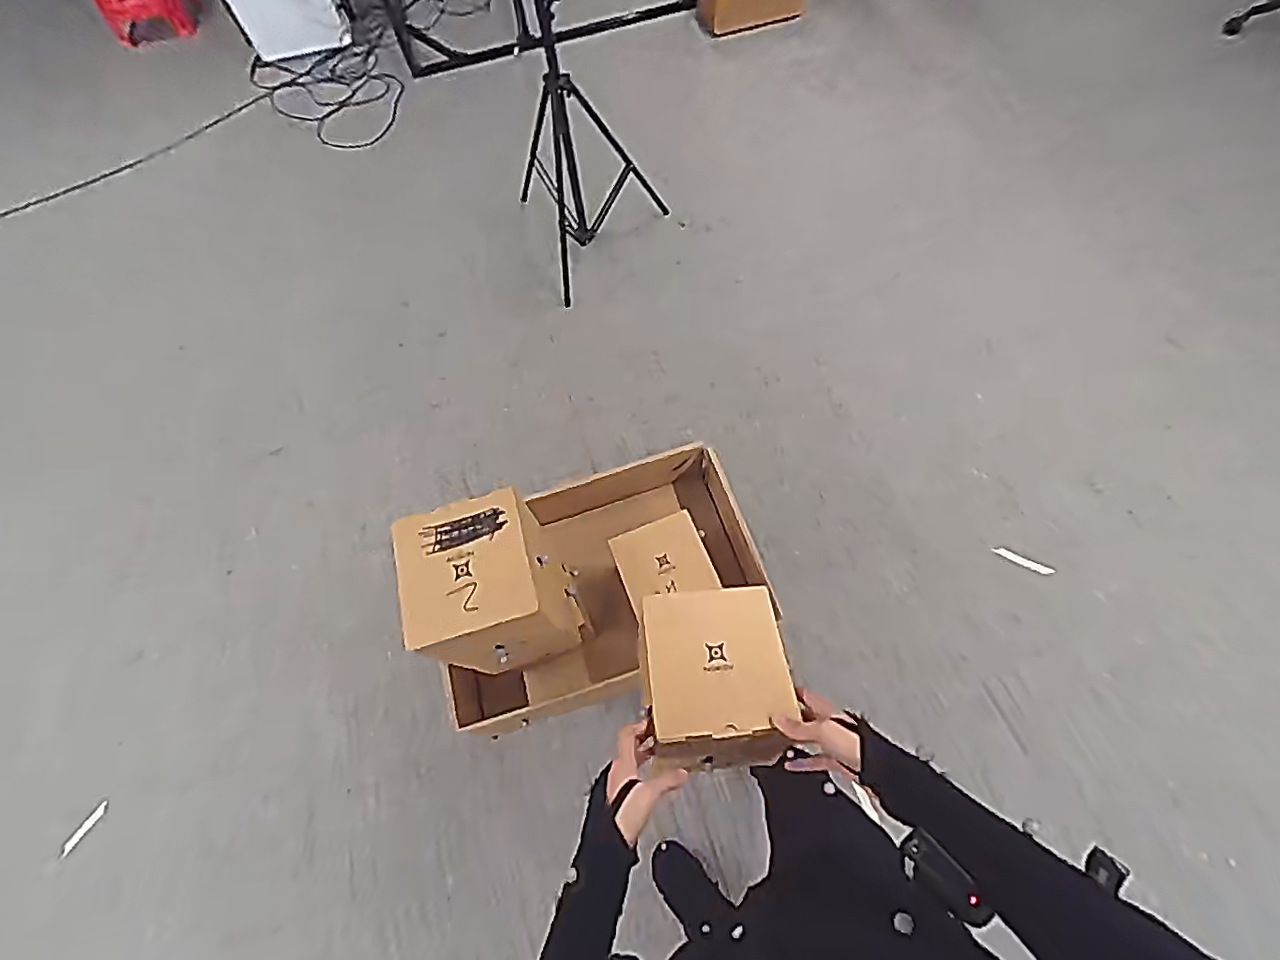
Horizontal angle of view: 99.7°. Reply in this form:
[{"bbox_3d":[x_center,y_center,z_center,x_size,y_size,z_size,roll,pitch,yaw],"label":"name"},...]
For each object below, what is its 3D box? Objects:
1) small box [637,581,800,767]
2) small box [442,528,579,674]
[{"bbox_3d":[0.086,0.253,0.705,0.168,0.176,0.179,-5,52,-5],"label":"small box"},{"bbox_3d":[-0.210,0.207,0.902,0.168,0.176,0.179,-17,65,-3],"label":"small box"}]
